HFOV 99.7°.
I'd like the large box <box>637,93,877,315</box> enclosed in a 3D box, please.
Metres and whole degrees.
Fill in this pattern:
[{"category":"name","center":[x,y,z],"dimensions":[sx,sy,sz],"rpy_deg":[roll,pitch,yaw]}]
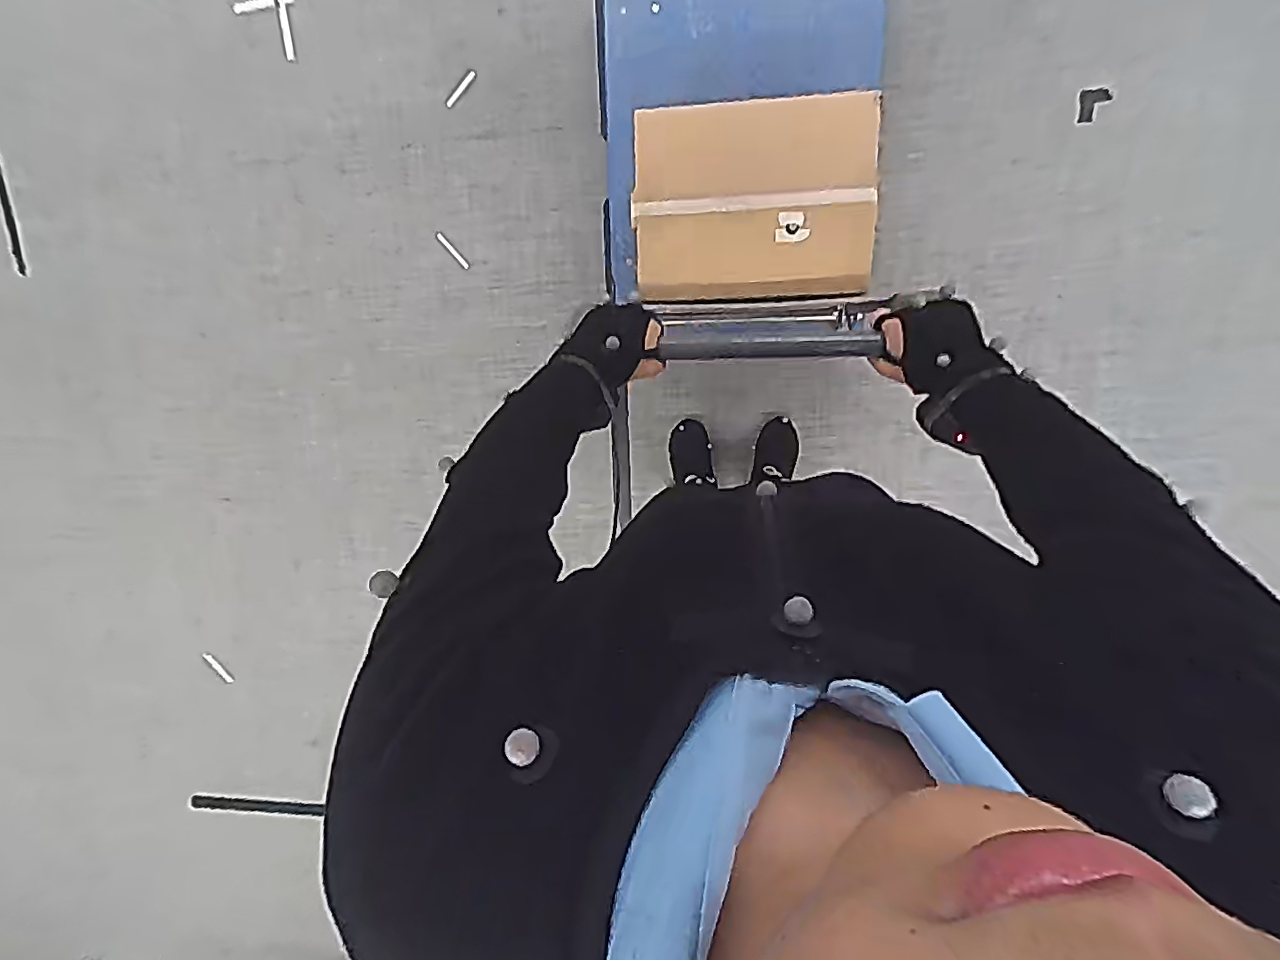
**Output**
[{"category":"large box","center":[0.212,-0.513,1.084],"dimensions":[0.408,0.320,0.320],"rpy_deg":[0,104,7]}]
